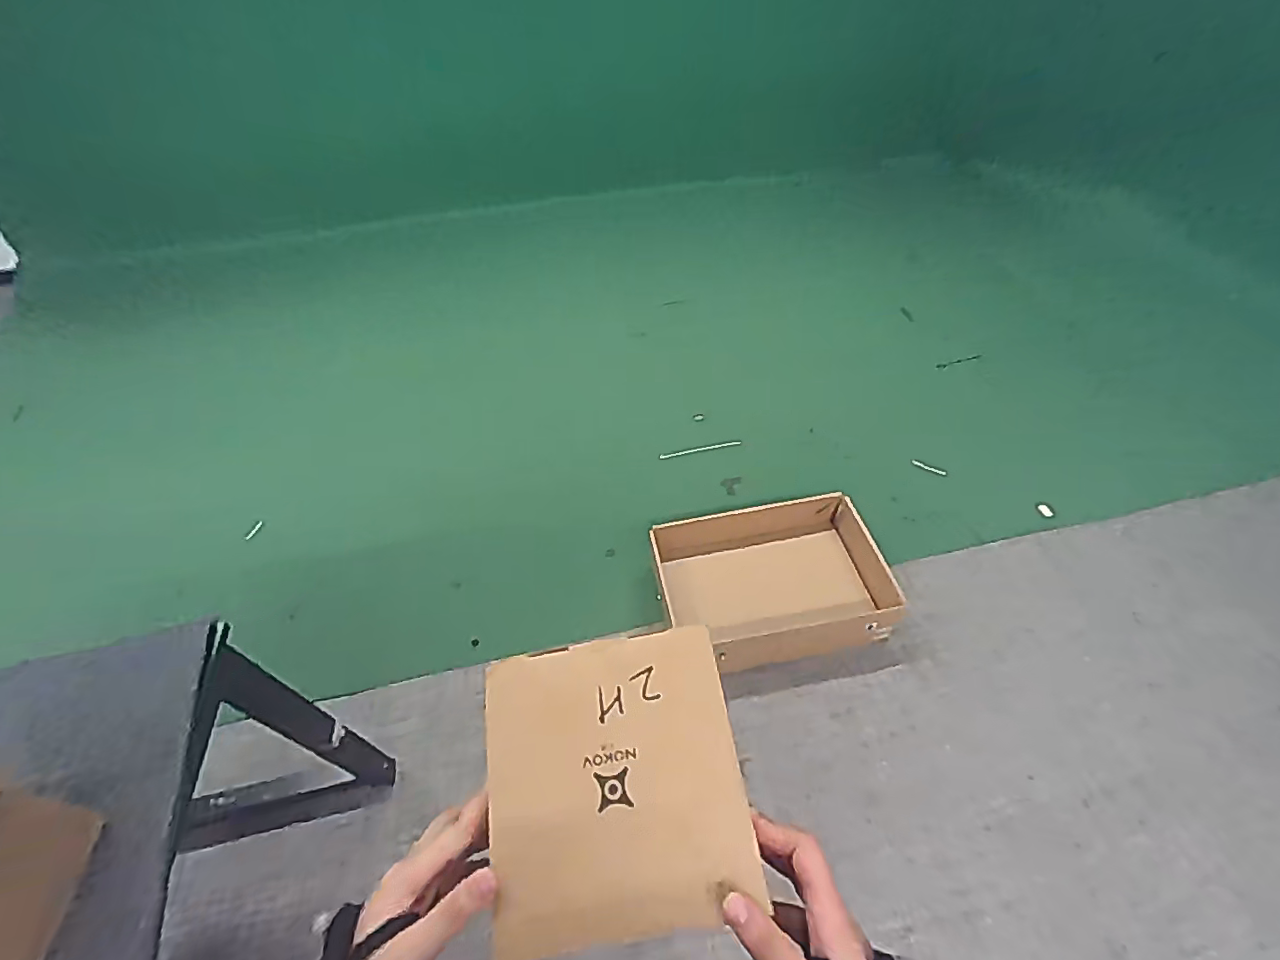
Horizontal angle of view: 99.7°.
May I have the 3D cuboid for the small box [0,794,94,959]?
[{"bbox_3d":[-0.718,0.424,0.533,0.168,0.176,0.179,-8,48,-4],"label":"small box"}]
